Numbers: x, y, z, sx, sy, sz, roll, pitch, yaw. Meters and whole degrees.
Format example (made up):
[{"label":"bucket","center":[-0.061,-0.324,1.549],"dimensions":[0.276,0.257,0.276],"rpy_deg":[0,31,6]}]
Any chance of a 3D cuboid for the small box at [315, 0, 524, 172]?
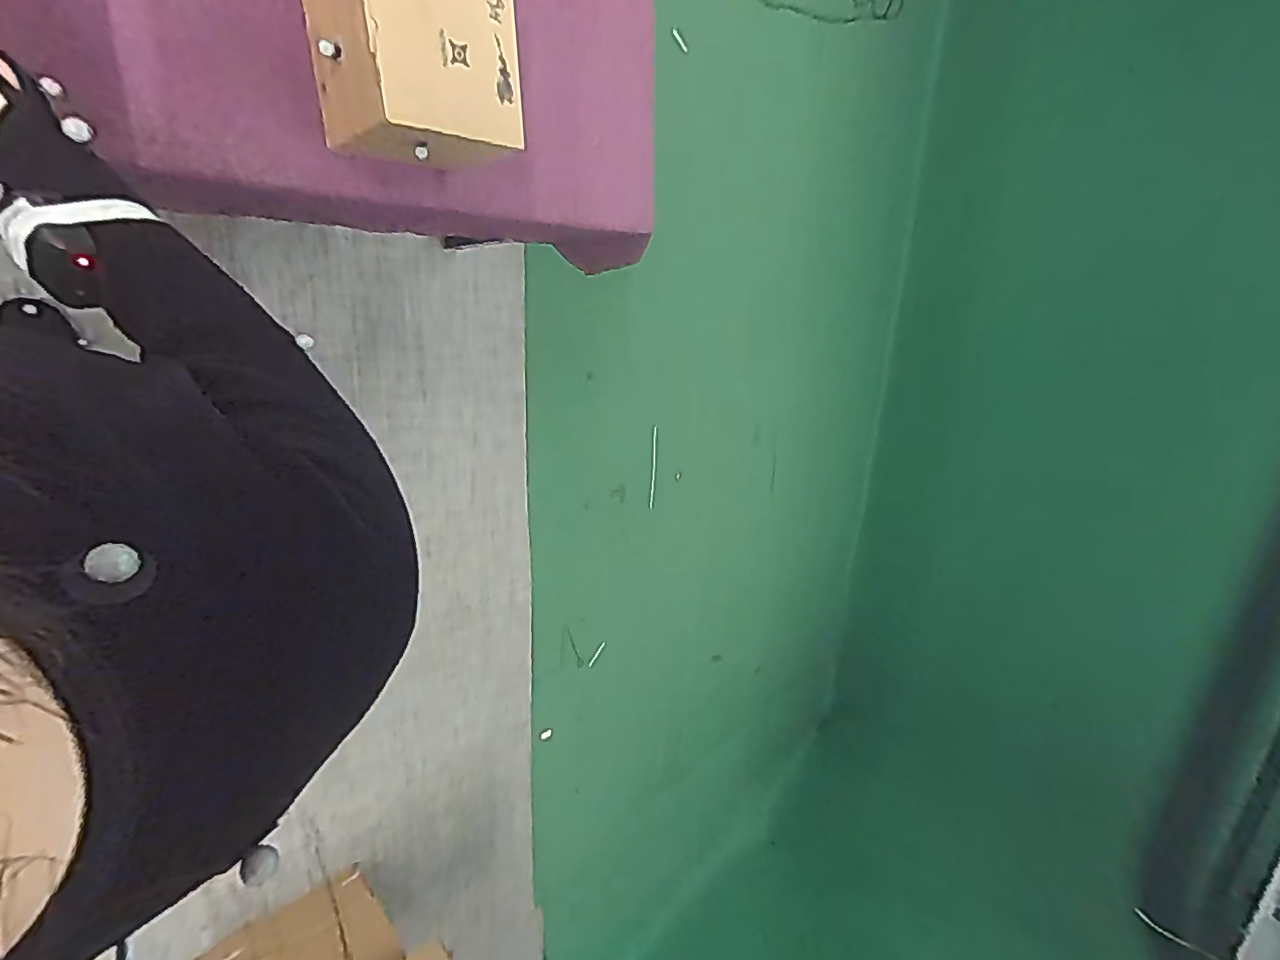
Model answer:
[{"label":"small box","center":[-0.261,-0.477,0.639],"dimensions":[0.179,0.176,0.168],"rpy_deg":[-18,115,-42]}]
